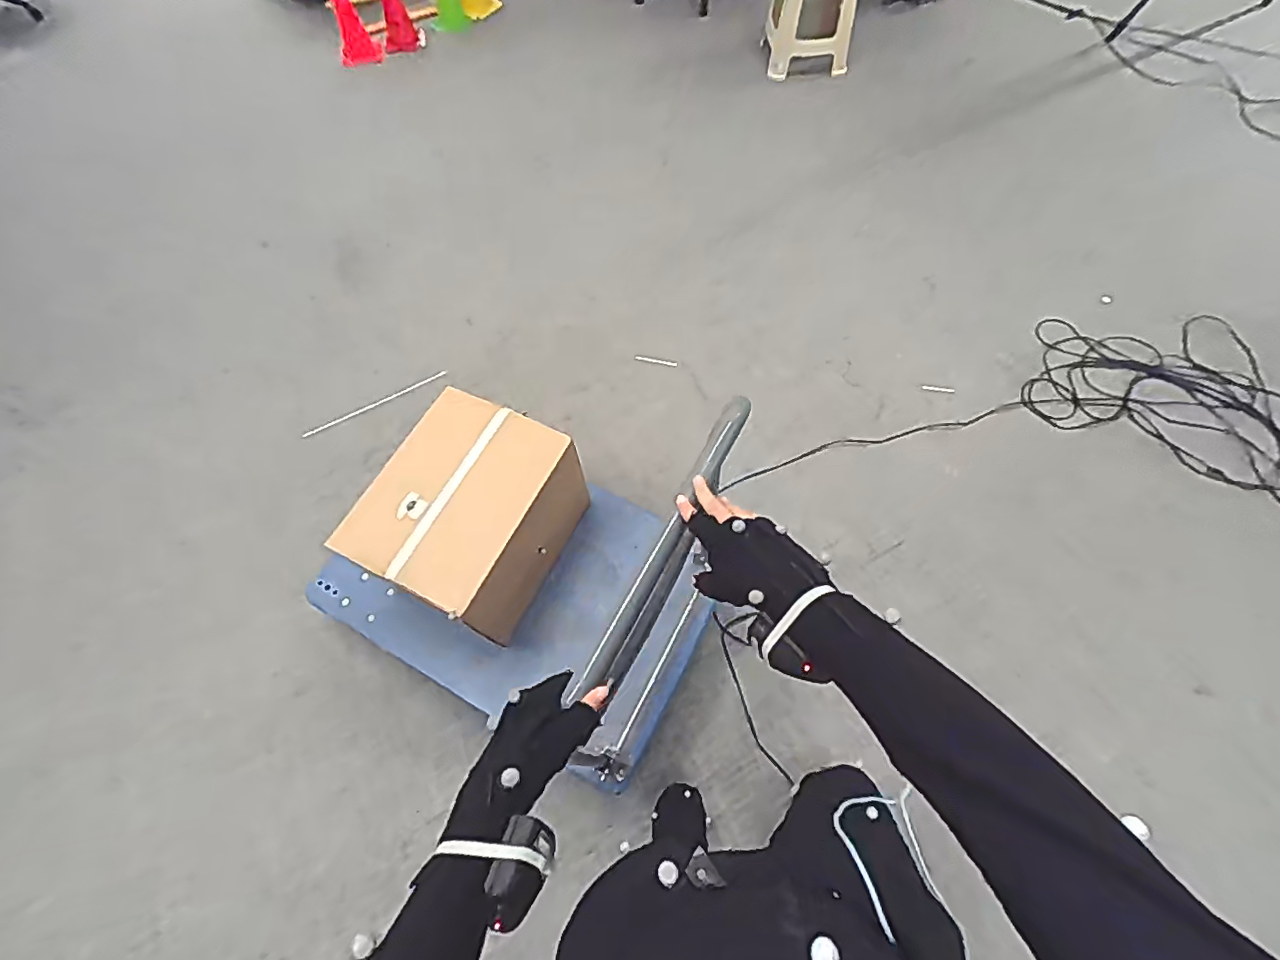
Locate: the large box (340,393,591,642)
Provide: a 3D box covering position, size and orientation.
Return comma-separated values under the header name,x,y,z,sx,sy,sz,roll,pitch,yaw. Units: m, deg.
name,x,y,z,sx,sy,sz,roll,pitch,yaw
large box,-0.344,0.089,1.195,0.320,0.320,0.408,22,68,14
